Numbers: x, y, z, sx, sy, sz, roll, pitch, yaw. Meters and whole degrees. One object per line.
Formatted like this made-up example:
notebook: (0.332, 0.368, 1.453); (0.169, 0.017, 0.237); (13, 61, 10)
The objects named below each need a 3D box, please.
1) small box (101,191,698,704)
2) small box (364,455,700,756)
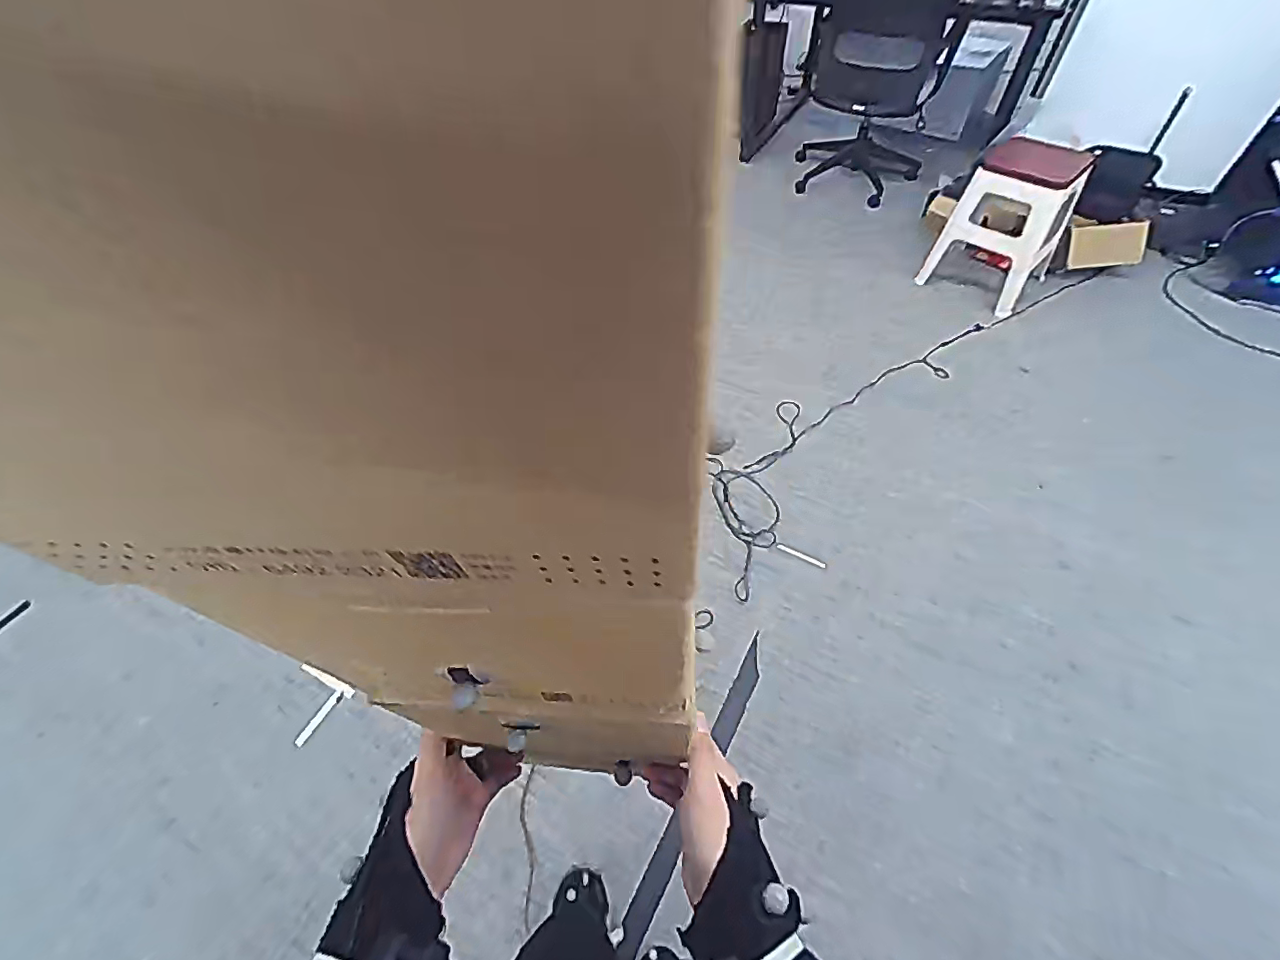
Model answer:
small box: (-0.059, -0.007, 0.254); (0.168, 0.176, 0.179); (0, 57, 4)
small box: (-0.048, 0.091, 0.383); (0.179, 0.176, 0.168); (2, 57, 5)
